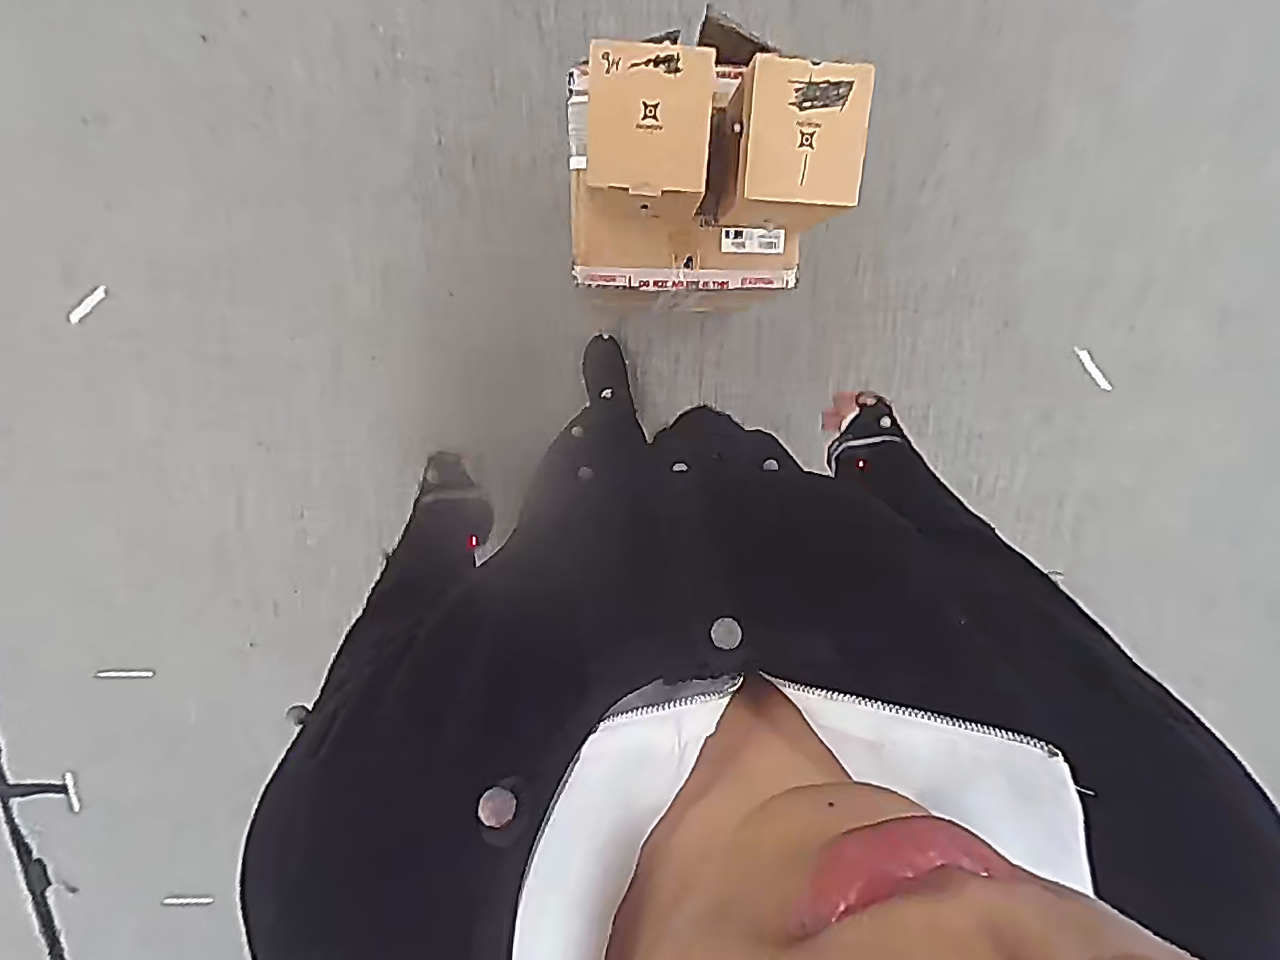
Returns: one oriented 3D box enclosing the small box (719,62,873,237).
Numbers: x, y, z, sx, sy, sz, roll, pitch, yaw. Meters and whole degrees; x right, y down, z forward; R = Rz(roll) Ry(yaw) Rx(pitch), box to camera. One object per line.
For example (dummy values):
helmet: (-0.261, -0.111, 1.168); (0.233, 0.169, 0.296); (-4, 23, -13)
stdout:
small box: (0.220, -0.480, 0.811); (0.168, 0.176, 0.179); (2, 104, -5)

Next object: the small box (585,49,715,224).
small box: (0.011, -0.488, 0.797); (0.168, 0.176, 0.179); (3, 105, -2)
